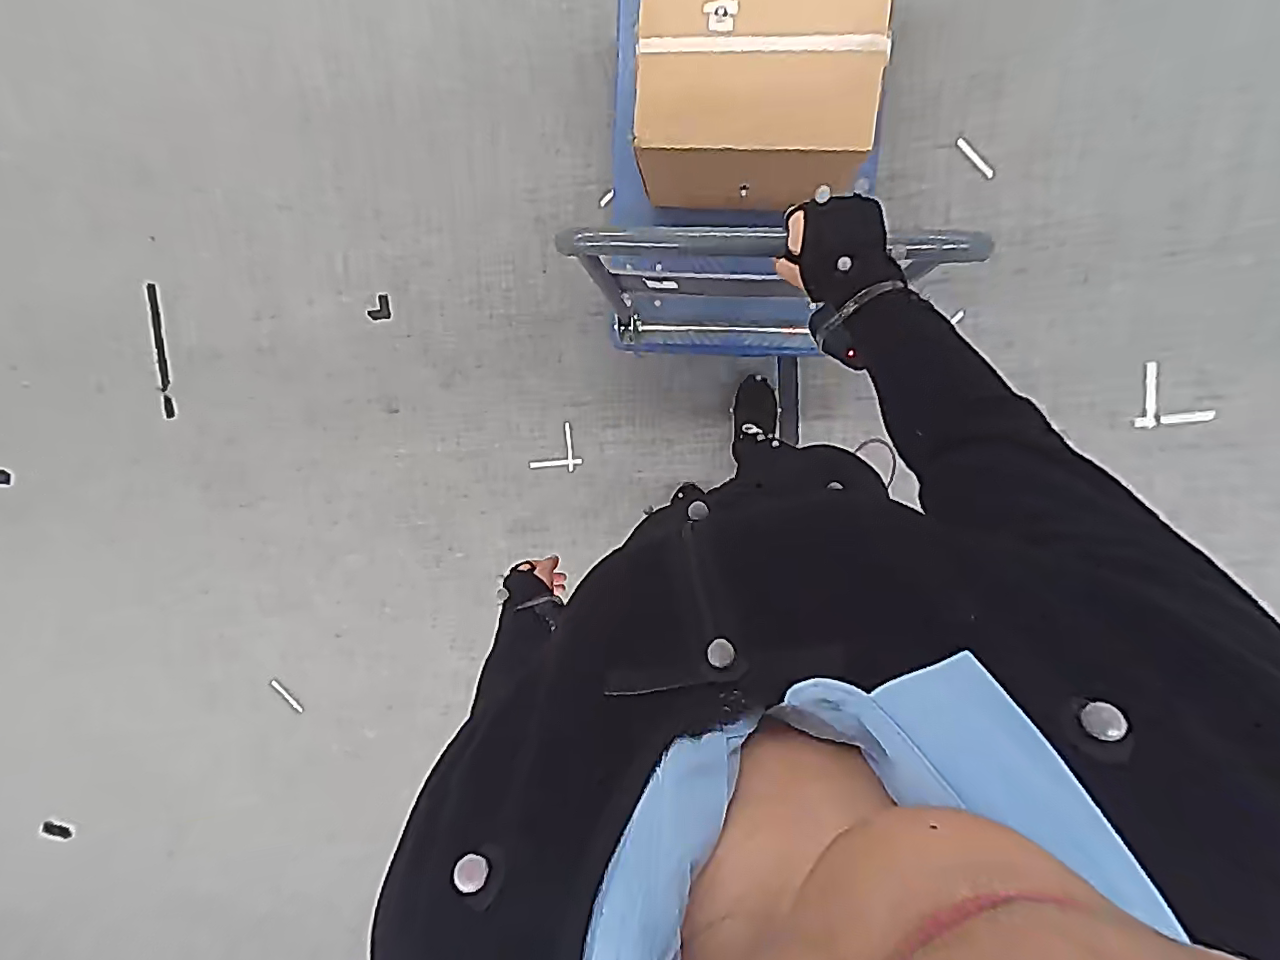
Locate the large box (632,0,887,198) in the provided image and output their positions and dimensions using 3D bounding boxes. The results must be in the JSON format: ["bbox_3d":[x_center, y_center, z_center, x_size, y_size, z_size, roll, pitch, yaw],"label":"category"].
[{"bbox_3d":[0.211,-0.745,1.018,0.408,0.320,0.320,4,99,8],"label":"large box"}]
